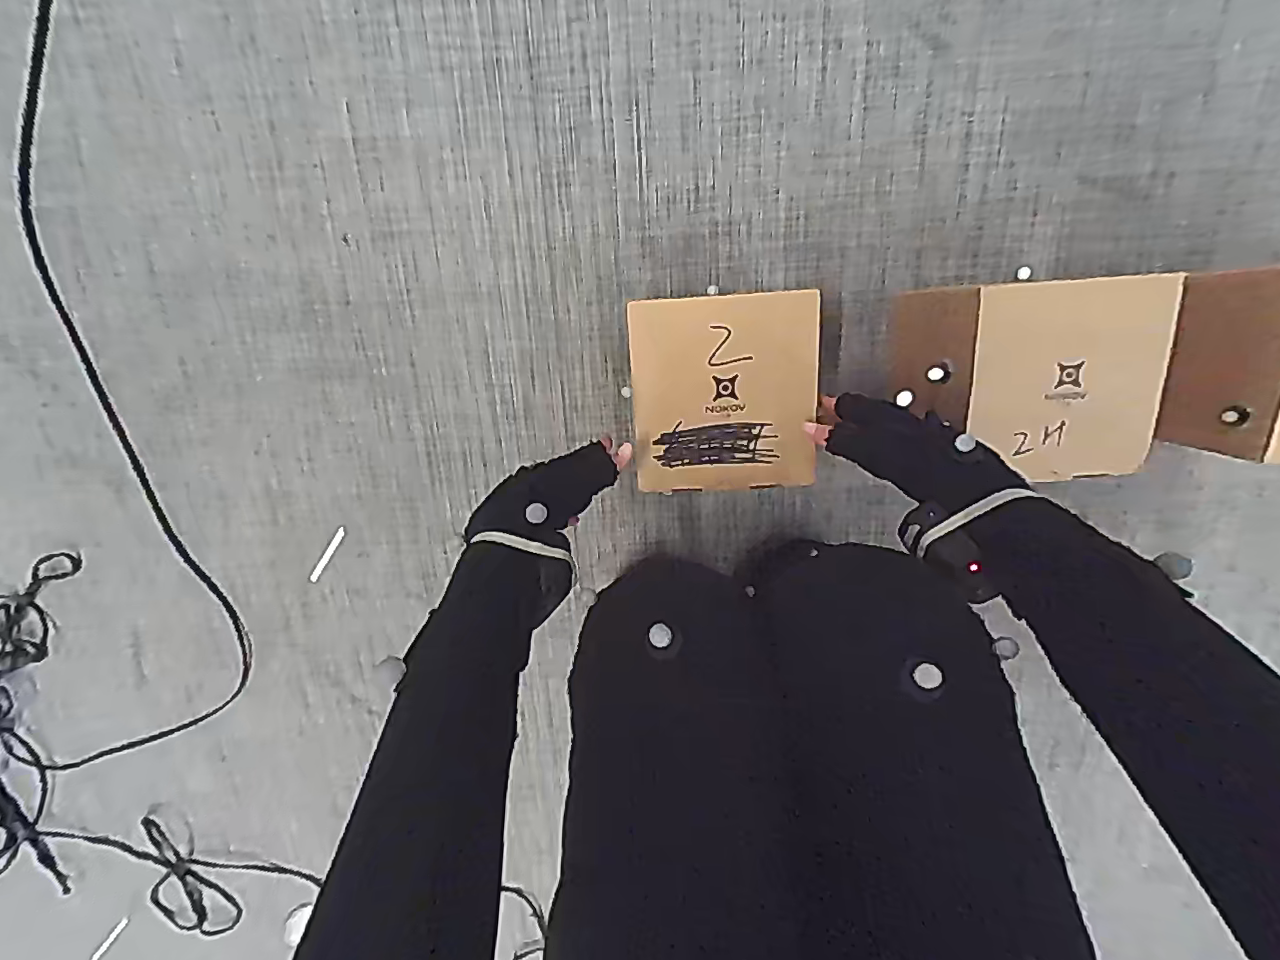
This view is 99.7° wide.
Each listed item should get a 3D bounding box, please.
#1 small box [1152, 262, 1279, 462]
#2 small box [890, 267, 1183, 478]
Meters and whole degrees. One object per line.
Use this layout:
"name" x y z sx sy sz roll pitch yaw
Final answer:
"small box" 0.637 -0.123 0.536 0.168 0.176 0.179 -1 107 1
"small box" 0.369 -0.110 0.544 0.168 0.176 0.179 -3 107 4
